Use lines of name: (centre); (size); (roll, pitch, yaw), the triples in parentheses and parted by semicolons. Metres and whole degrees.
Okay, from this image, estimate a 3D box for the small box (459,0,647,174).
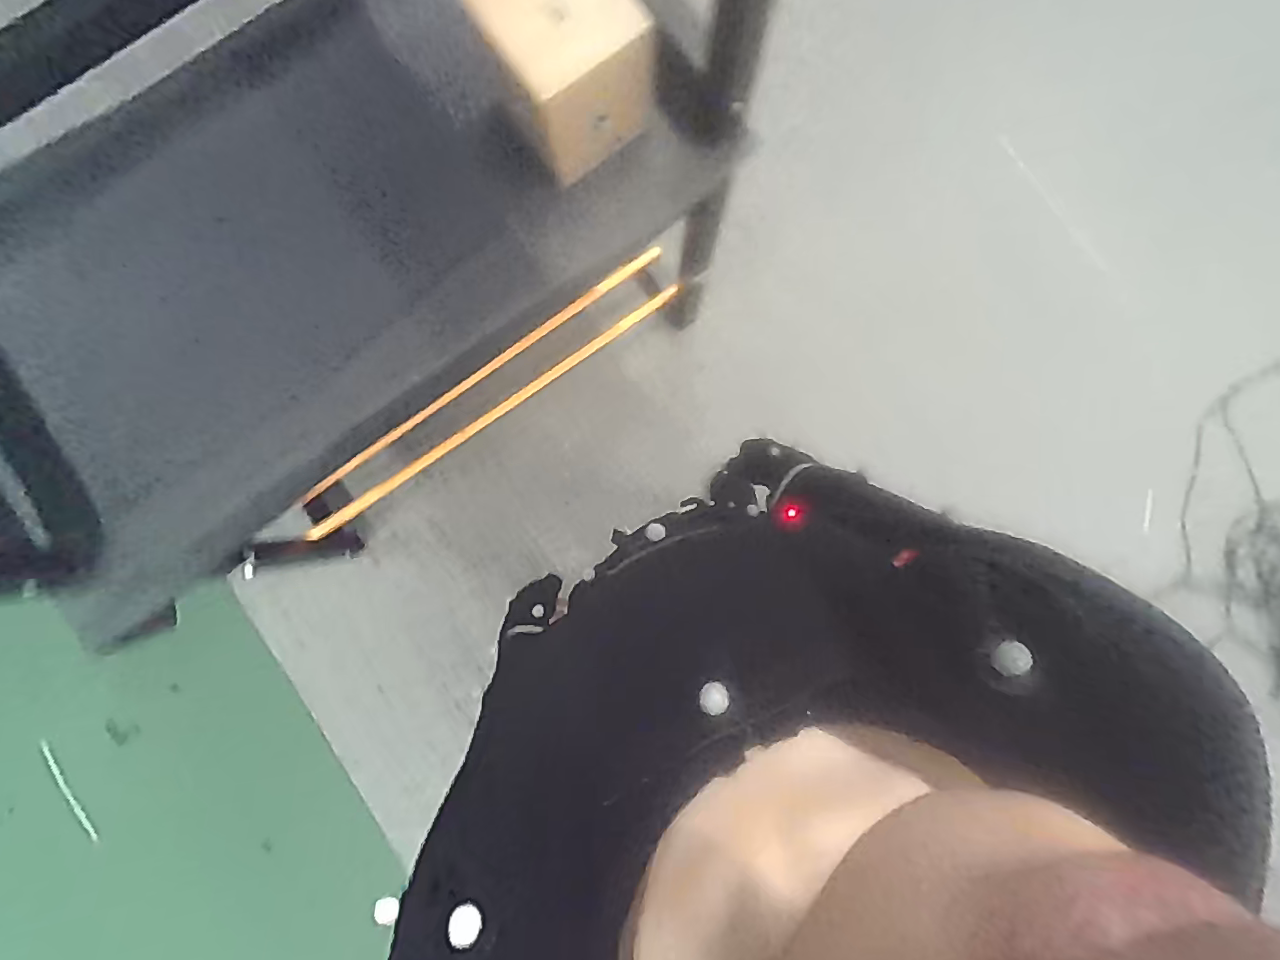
small box: (-0.102, -0.553, 0.727); (0.168, 0.176, 0.179); (-37, 85, -2)
